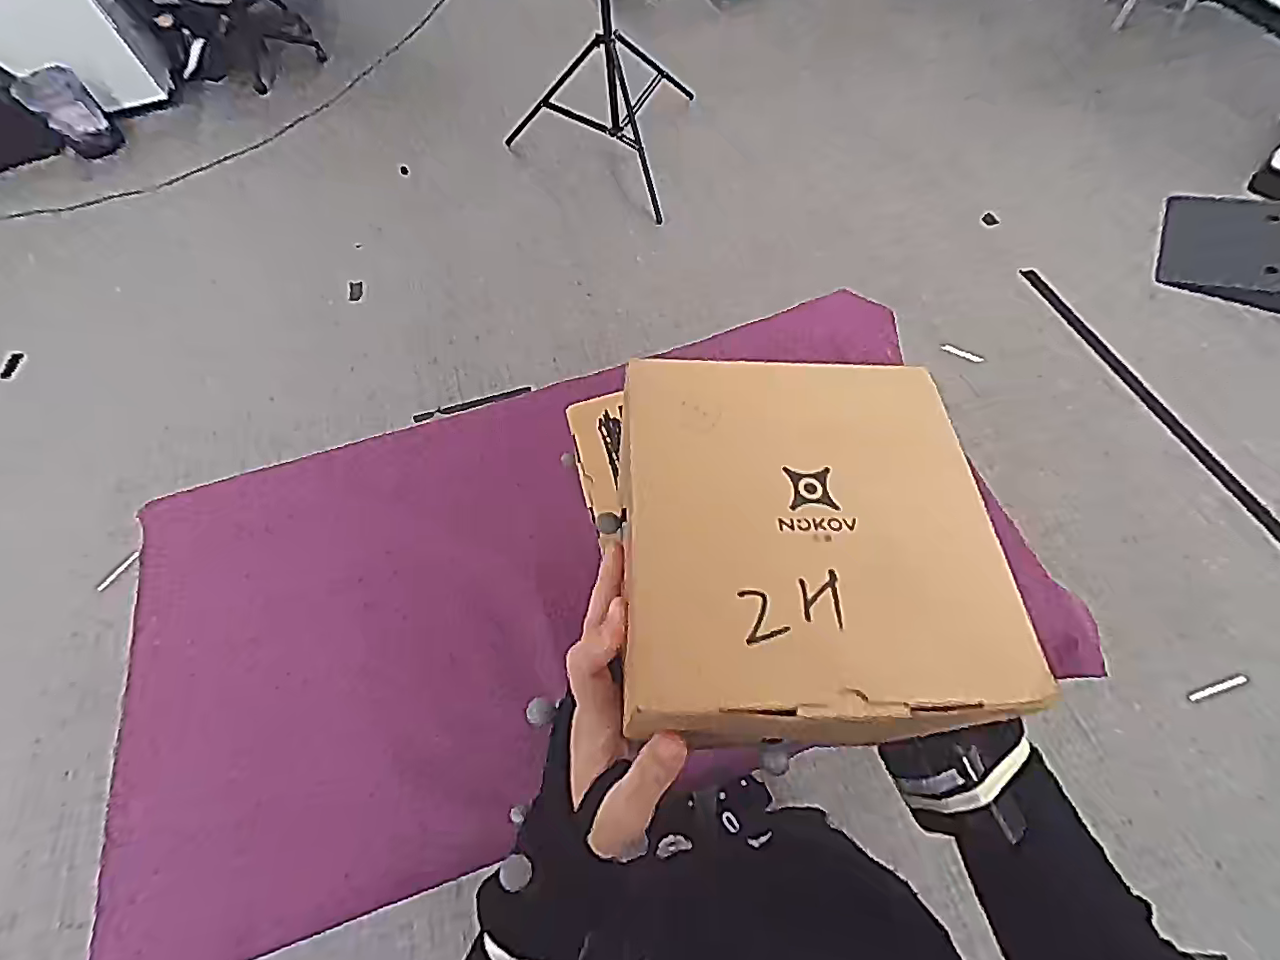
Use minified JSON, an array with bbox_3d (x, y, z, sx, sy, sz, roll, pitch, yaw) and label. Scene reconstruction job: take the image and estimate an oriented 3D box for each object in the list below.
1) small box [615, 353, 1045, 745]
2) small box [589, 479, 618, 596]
[{"bbox_3d":[0.070,0.049,0.315,0.168,0.176,0.179,0,60,-4],"label":"small box"},{"bbox_3d":[0.048,0.092,0.679,0.179,0.176,0.168,-15,63,-5],"label":"small box"}]
